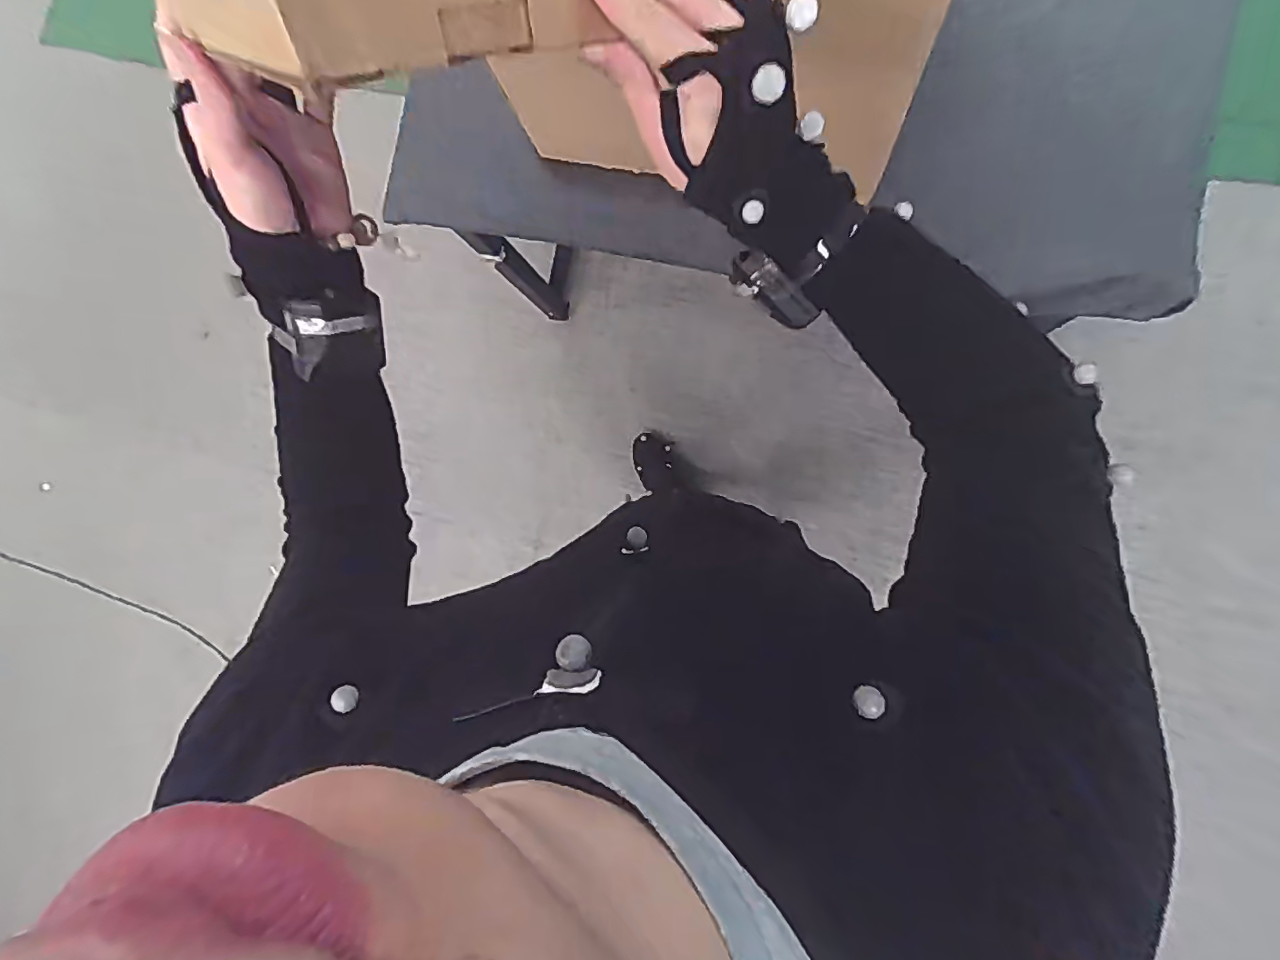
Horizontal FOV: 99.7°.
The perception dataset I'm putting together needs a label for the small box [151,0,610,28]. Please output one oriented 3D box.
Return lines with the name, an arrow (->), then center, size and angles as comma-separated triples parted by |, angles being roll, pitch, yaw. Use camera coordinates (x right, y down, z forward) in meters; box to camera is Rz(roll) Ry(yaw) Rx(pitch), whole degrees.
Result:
small box -> -0.120, -0.288, 0.199 | 0.168, 0.176, 0.179 | -35, 54, -30
